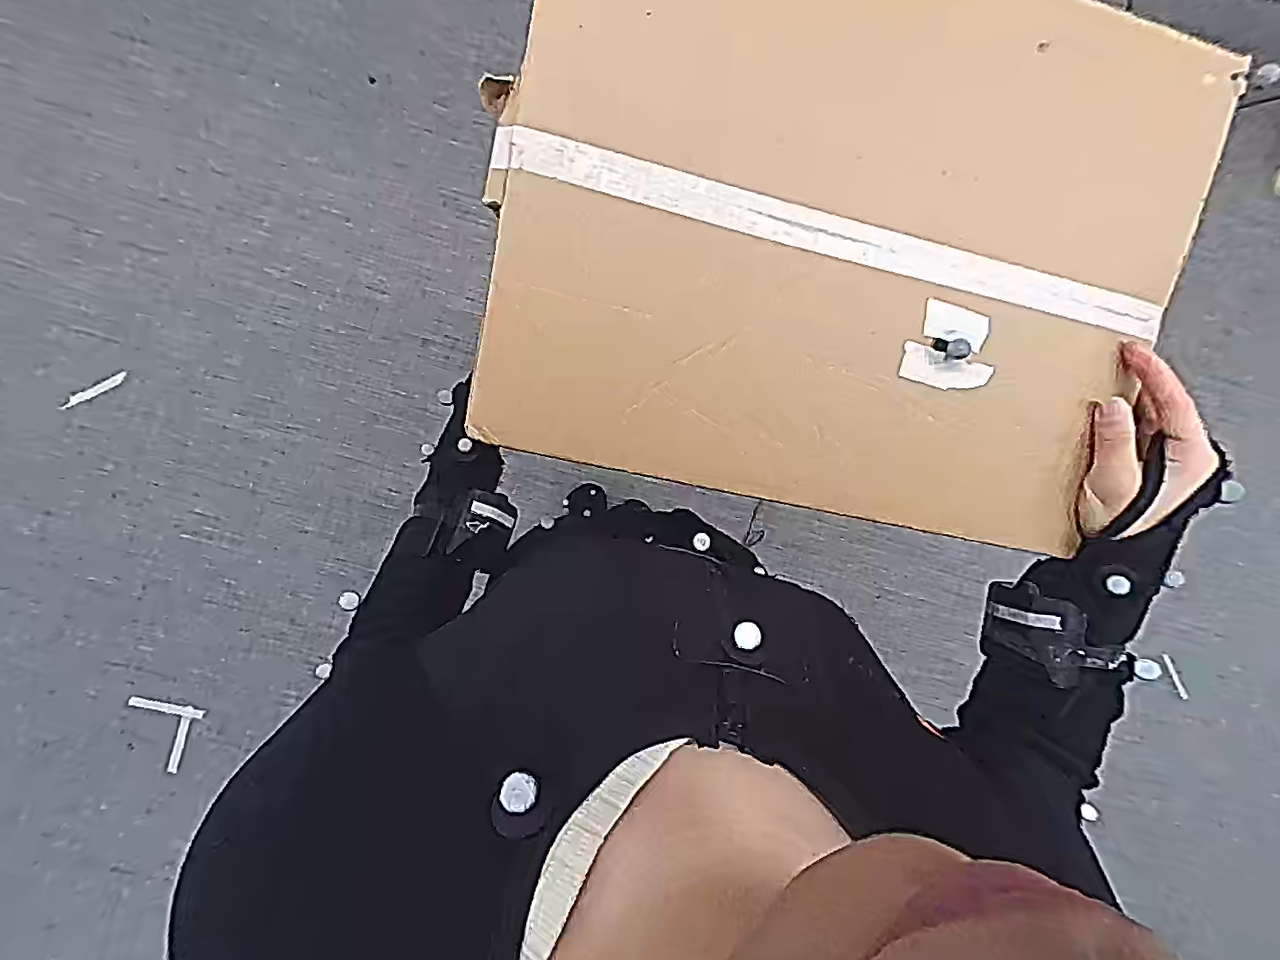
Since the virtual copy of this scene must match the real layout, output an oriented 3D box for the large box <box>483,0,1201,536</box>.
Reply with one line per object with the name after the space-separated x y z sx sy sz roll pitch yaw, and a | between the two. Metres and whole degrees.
0.106 -0.165 0.469 0.408 0.320 0.320 10 100 -10 | large box
